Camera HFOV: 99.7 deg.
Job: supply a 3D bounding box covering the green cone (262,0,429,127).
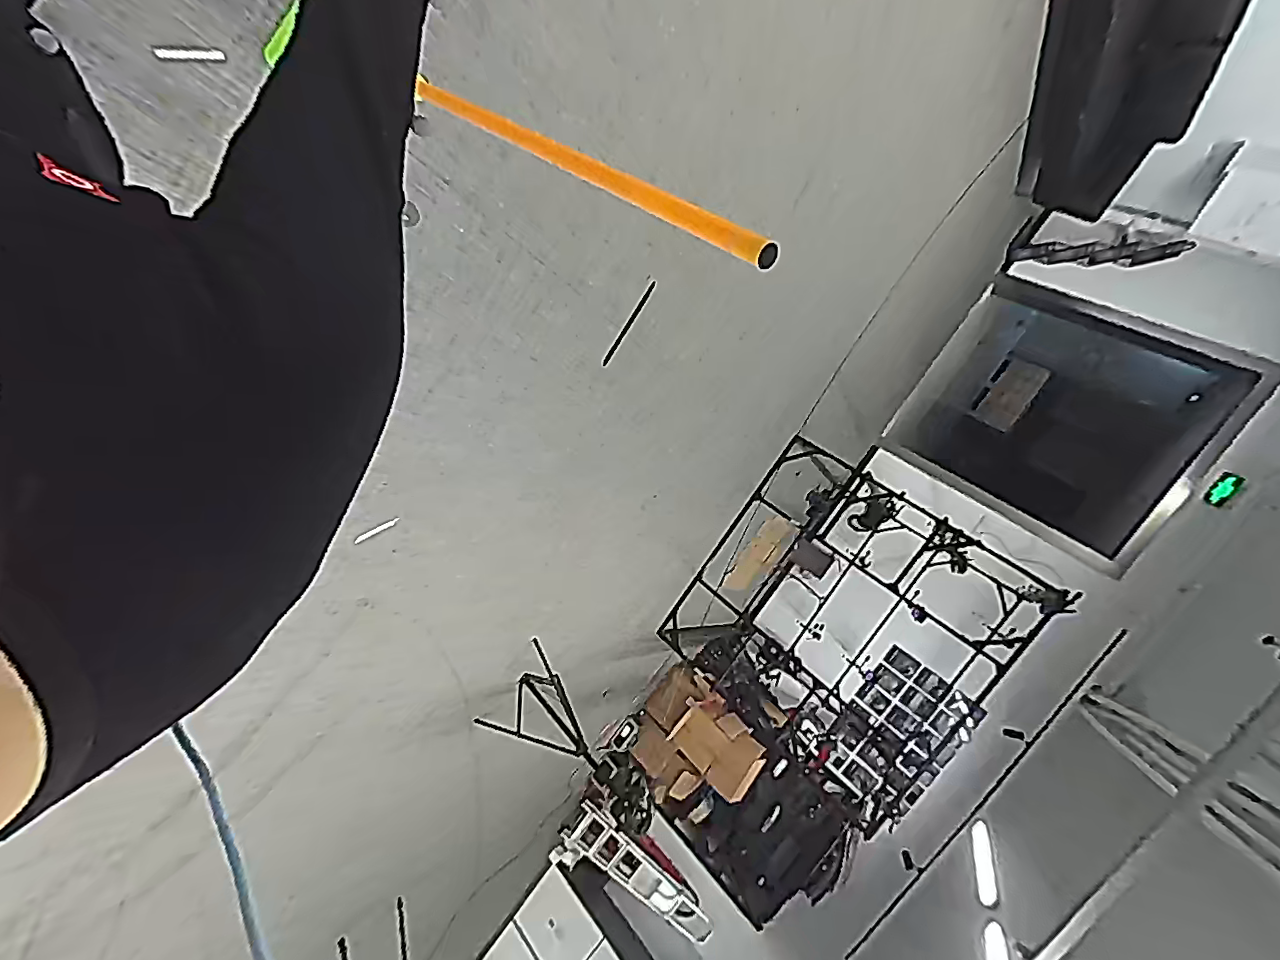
[{"bbox_3d":[-0.521,-0.792,1.040,0.200,0.368,0.202,-54,152,3],"label":"green cone"}]
